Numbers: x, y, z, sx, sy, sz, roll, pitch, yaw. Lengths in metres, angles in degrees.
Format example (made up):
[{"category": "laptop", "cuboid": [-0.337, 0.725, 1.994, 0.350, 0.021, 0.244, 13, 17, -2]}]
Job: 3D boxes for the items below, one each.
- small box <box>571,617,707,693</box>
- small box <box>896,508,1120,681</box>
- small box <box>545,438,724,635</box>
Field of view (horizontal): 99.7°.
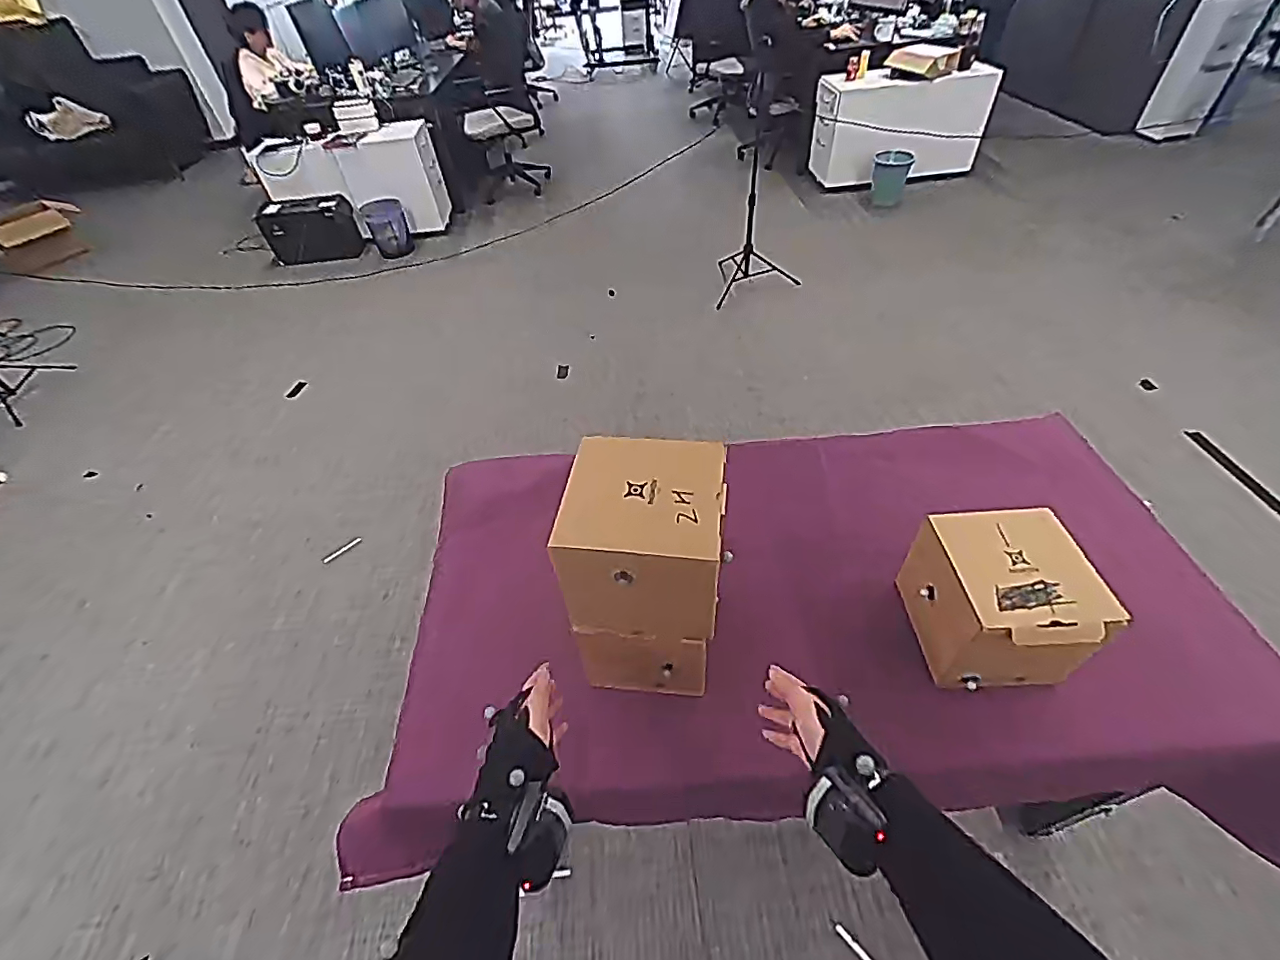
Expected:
[{"category": "small box", "cuboid": [0.011, 0.182, 0.764, 0.168, 0.176, 0.179, 3, 47, 7]}, {"category": "small box", "cuboid": [0.475, 0.161, 0.734, 0.168, 0.176, 0.179, -4, 46, 3]}, {"category": "small box", "cuboid": [0.006, 0.069, 0.645, 0.179, 0.176, 0.168, 4, 49, 8]}]
